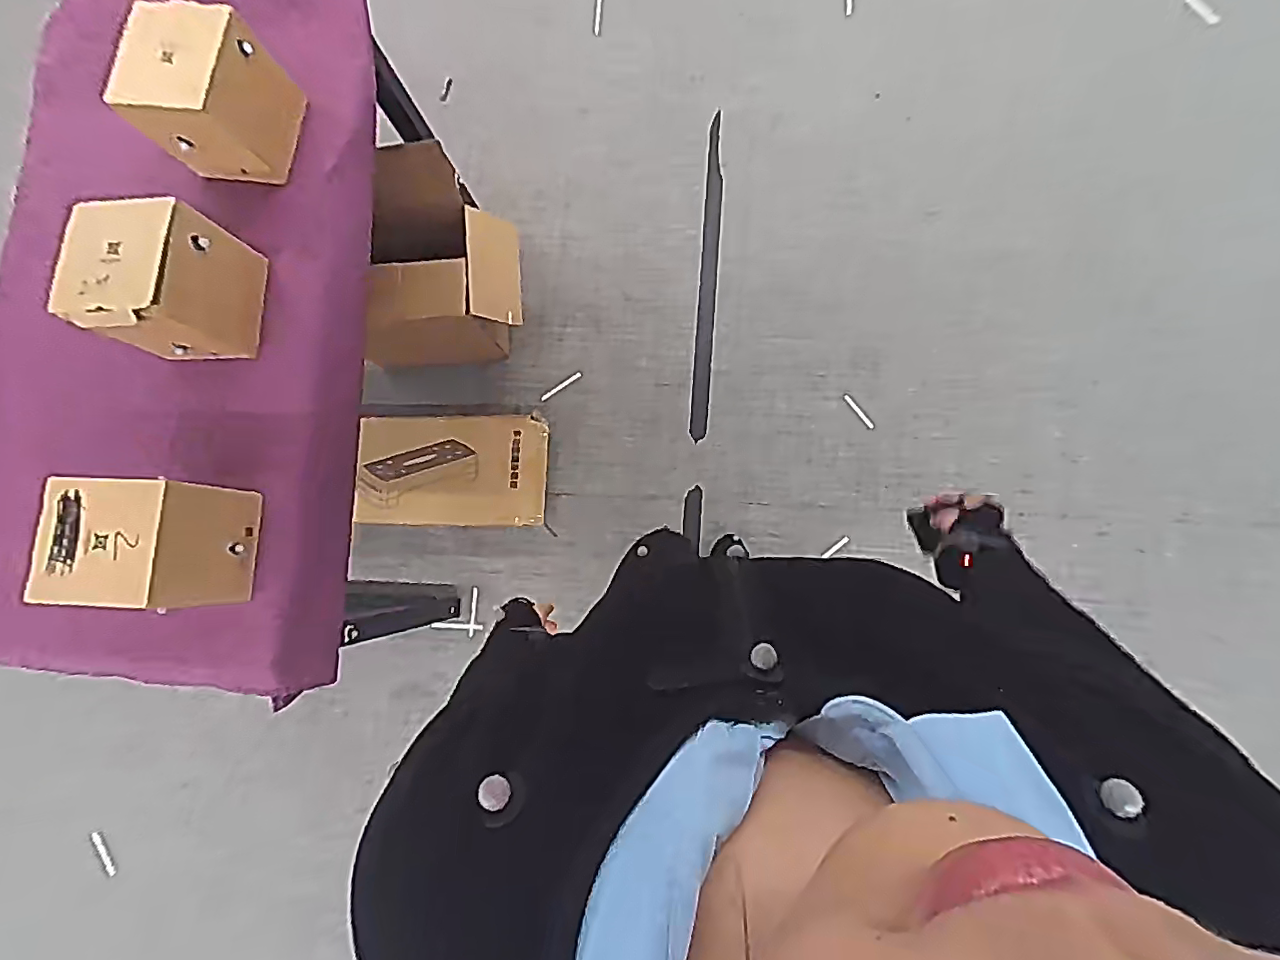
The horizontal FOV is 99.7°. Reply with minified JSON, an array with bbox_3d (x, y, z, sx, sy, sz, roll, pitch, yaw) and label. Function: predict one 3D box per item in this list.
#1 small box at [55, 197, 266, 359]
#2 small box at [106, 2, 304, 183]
[{"bbox_3d":[-0.716,-0.299,0.829,0.168,0.176,0.179,0,82,8],"label":"small box"},{"bbox_3d":[-0.684,-0.613,0.872,0.168,0.176,0.179,8,82,6],"label":"small box"}]
